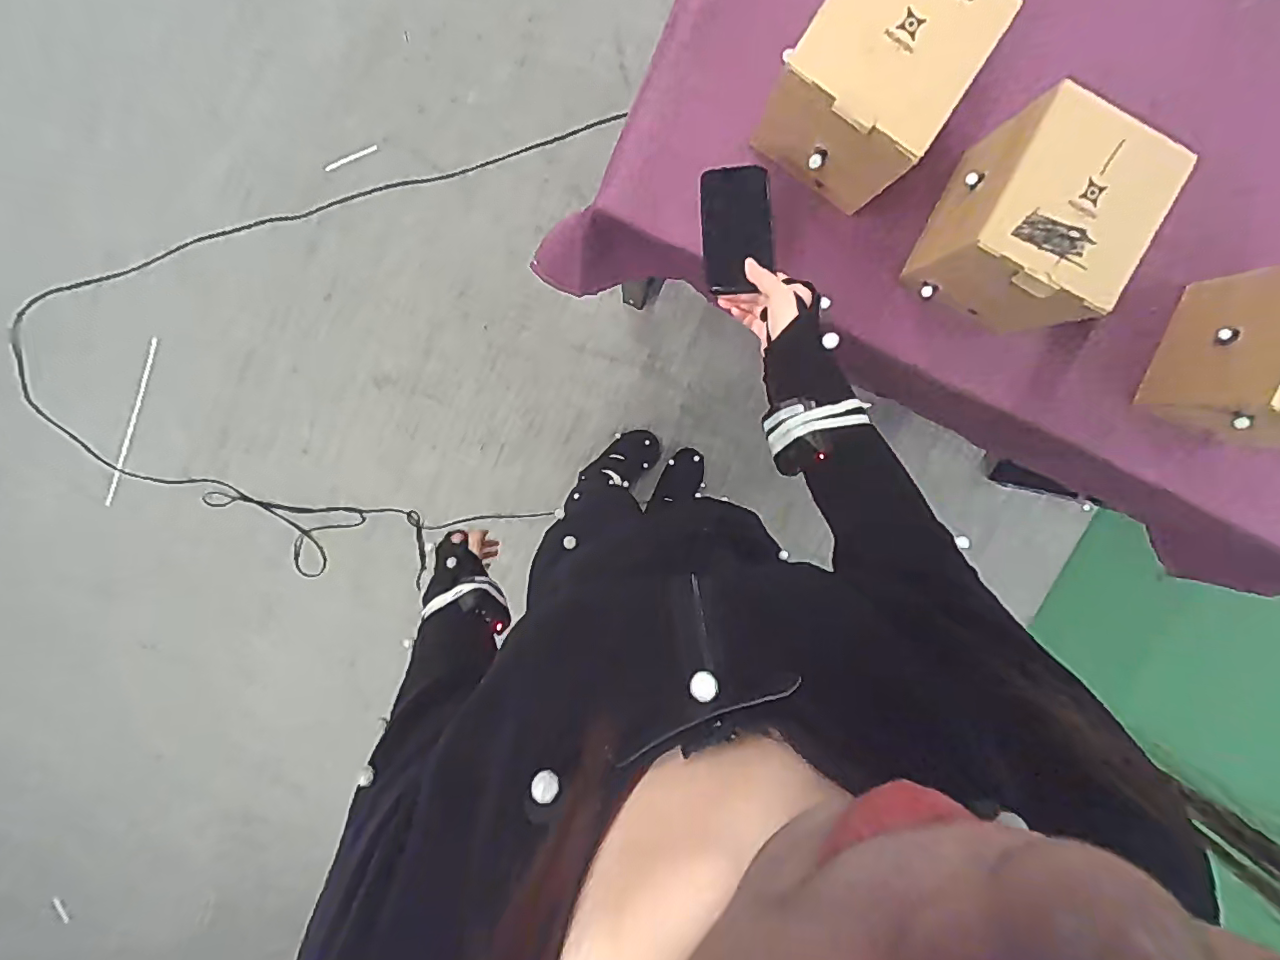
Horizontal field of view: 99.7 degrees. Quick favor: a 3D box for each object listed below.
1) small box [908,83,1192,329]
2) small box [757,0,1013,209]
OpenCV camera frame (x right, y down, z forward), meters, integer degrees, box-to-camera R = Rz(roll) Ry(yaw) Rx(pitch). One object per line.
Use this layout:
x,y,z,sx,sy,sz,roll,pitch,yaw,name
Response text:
0.449,-0.295,0.631,0.168,0.176,0.179,25,96,-5,small box
0.249,-0.444,0.606,0.168,0.176,0.179,32,97,-6,small box
